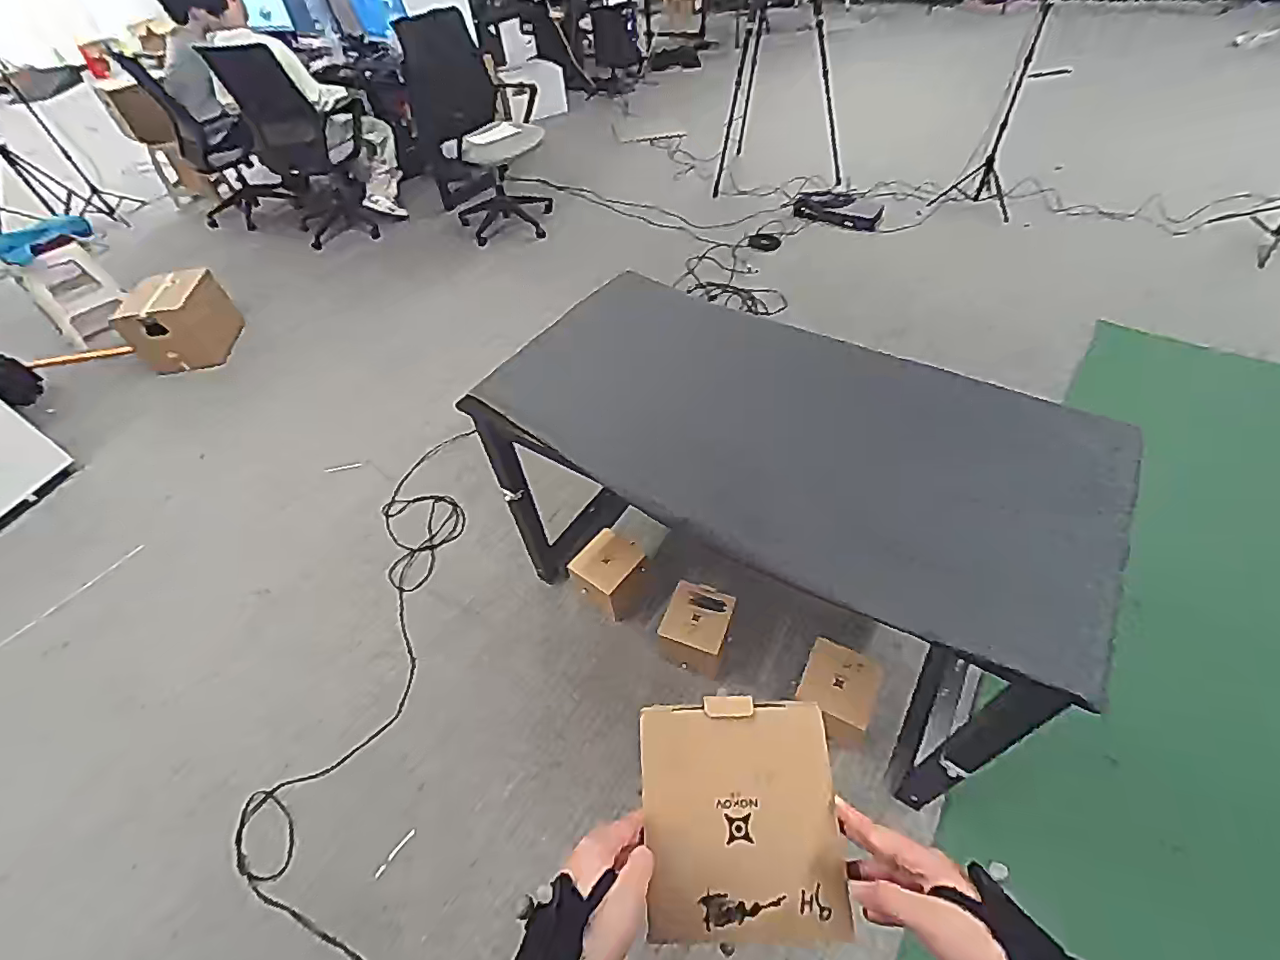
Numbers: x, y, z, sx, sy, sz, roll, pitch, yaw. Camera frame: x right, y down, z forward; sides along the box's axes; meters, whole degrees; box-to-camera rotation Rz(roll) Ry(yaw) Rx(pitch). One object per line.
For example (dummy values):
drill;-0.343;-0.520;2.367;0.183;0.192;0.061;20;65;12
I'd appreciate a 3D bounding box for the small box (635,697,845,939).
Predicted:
small box;0.083;0.311;0.531;0.168;0.176;0.179;-4;68;4

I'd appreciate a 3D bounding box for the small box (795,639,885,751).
small box;0.483;0.535;1.338;0.168;0.176;0.179;21;54;22

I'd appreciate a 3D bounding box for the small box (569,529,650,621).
small box;-0.083;0.287;1.621;0.168;0.176;0.179;29;57;28
